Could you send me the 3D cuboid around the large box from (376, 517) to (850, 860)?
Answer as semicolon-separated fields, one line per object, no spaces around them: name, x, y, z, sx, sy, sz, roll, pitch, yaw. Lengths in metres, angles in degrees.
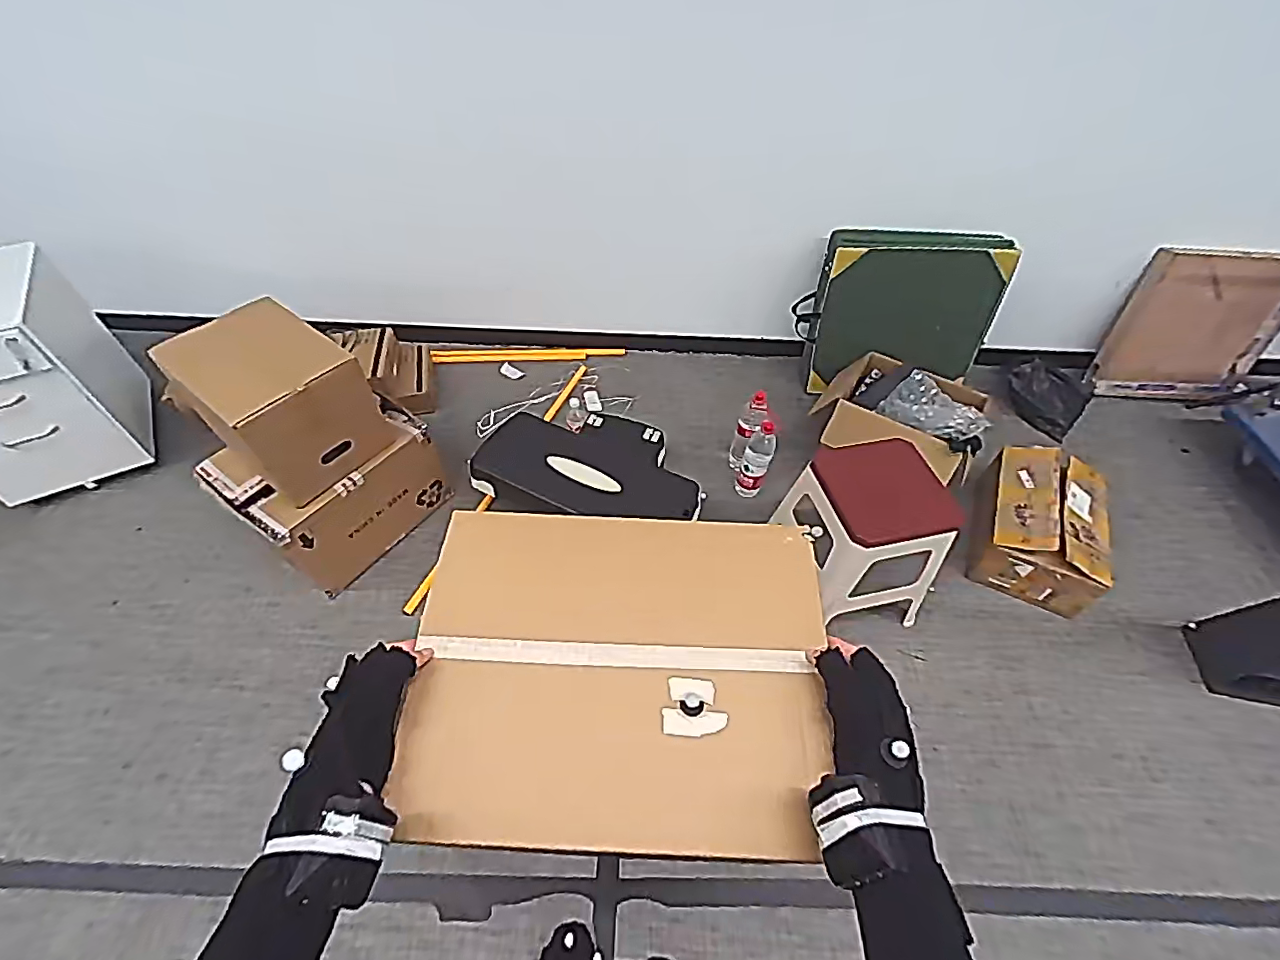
large box;-0.023;0.261;0.652;0.408;0.320;0.320;3;55;0
